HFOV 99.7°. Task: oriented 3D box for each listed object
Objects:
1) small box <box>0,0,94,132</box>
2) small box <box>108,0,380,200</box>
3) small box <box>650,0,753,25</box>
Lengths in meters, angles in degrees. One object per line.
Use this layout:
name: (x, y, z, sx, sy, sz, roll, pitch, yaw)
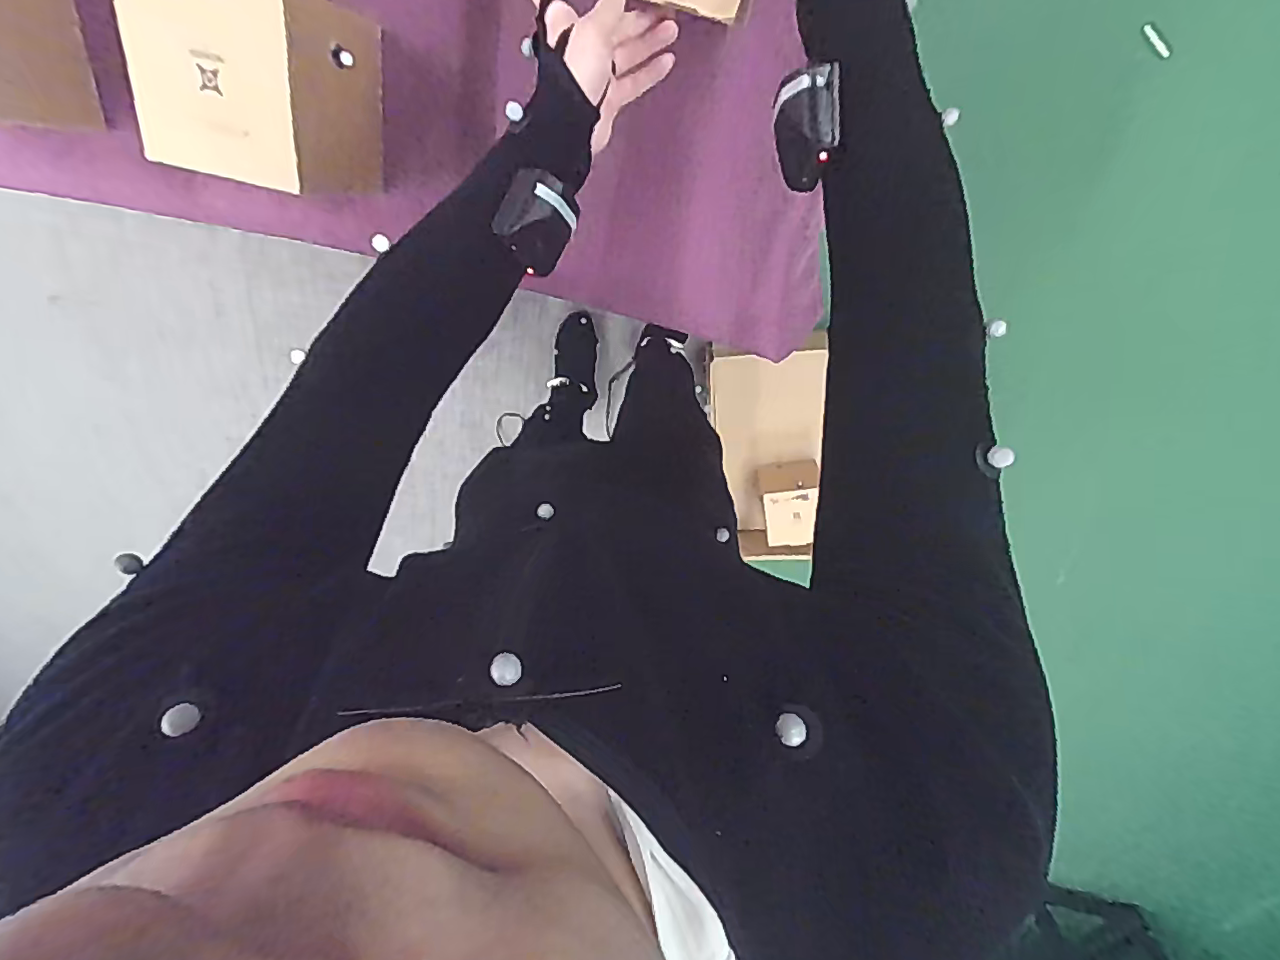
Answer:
small box: (-0.754, -0.492, 0.577, 0.168, 0.176, 0.179, 11, 118, 0)
small box: (-0.400, -0.414, 0.579, 0.168, 0.176, 0.179, 14, 119, 0)
small box: (0.032, -0.496, 0.430, 0.168, 0.176, 0.179, 18, 131, 1)
